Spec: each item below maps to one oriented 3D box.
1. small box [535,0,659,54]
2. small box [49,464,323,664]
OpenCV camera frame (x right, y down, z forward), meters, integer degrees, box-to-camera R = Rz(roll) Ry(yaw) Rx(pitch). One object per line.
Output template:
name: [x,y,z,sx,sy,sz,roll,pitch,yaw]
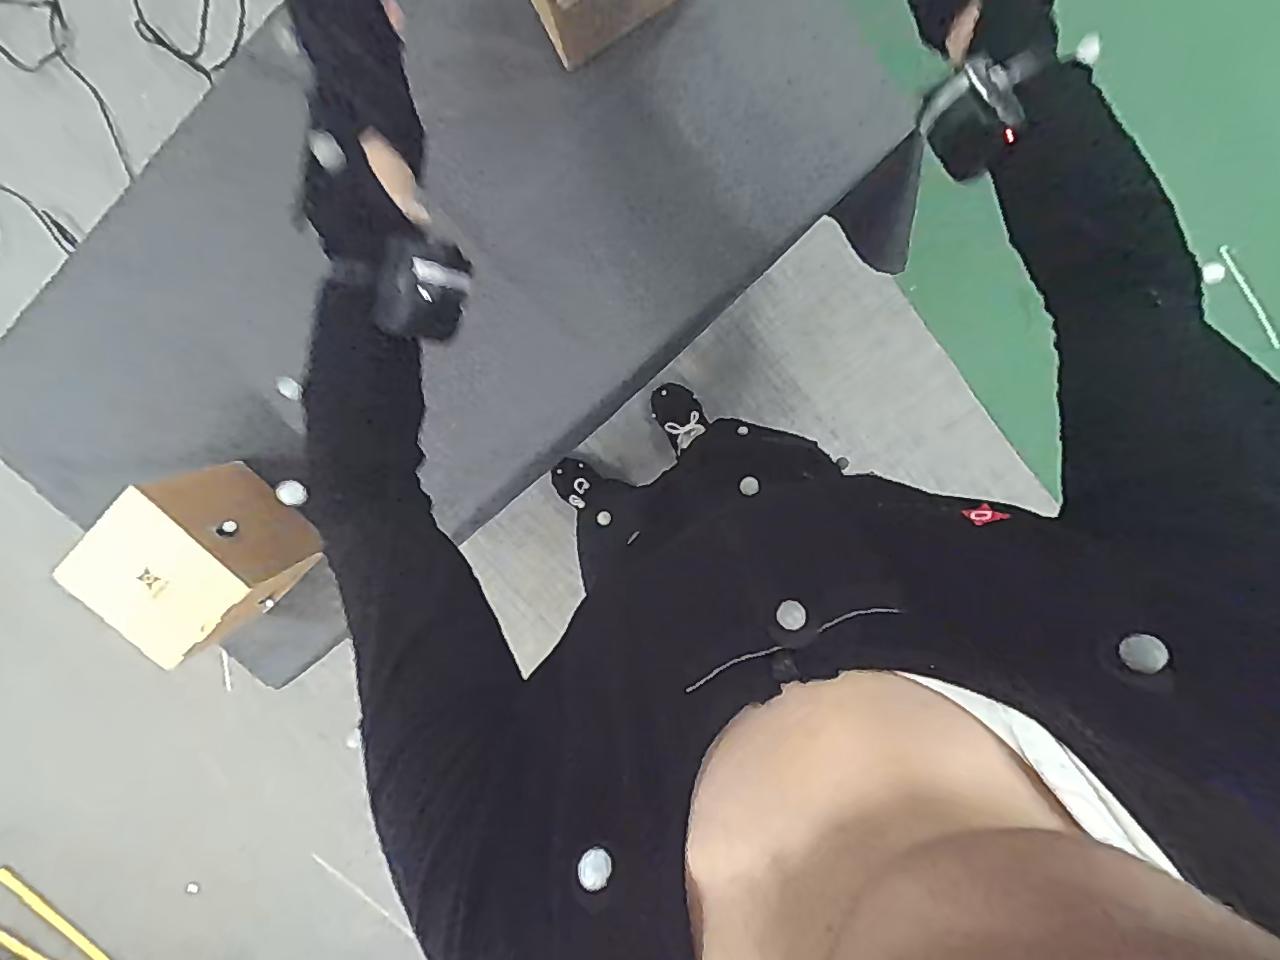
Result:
small box: [-0.055,-0.585,0.538,0.179,0.176,0.168,-28,102,8]
small box: [-0.573,0.095,0.709,0.168,0.176,0.179,-42,99,9]
